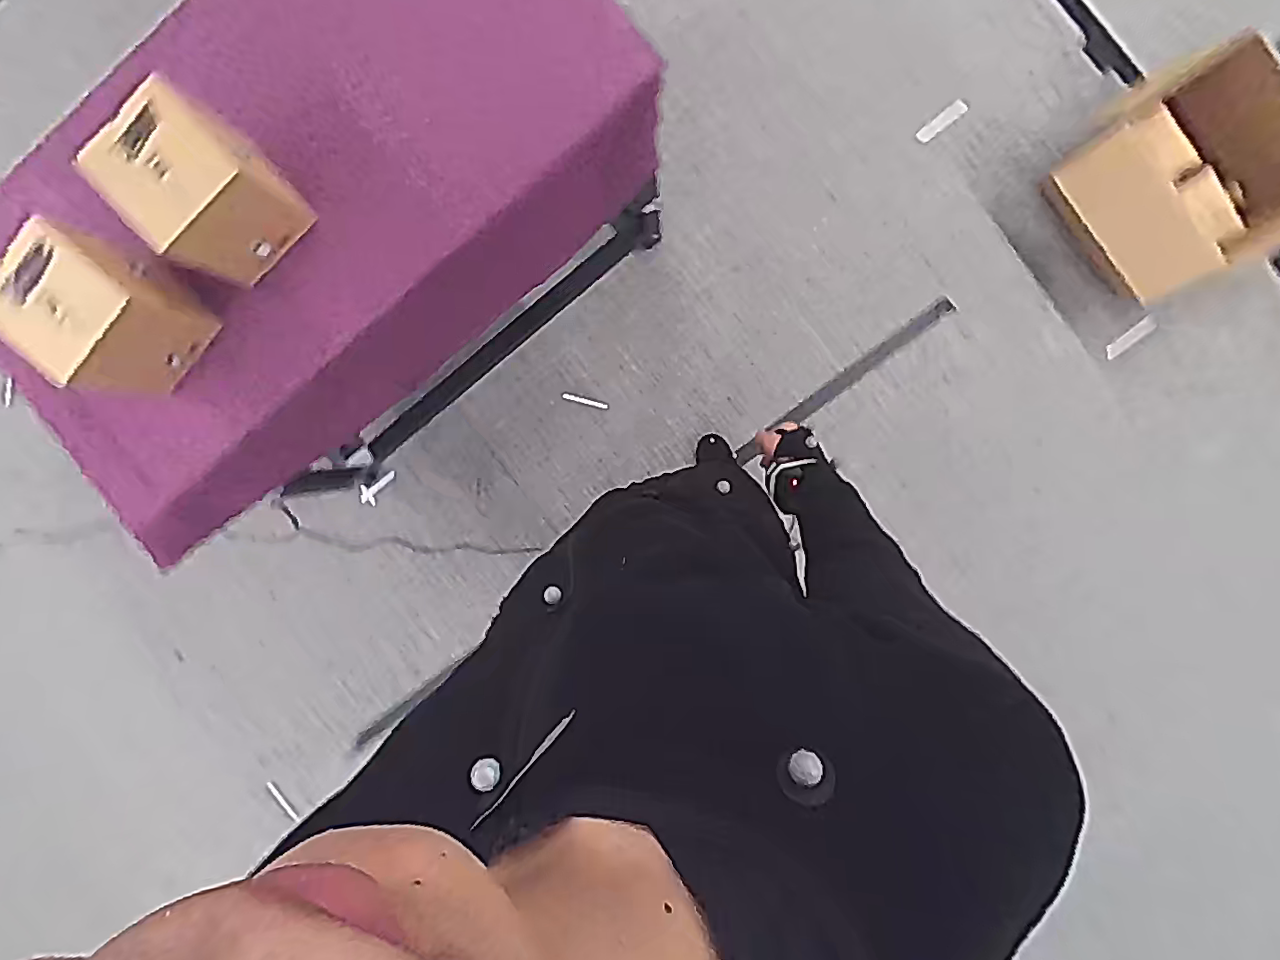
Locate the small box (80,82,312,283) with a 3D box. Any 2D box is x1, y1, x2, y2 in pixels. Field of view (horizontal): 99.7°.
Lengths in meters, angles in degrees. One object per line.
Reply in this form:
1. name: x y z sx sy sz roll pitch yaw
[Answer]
1. small box: -0.659 -0.435 0.825 0.168 0.176 0.179 -43 91 5
